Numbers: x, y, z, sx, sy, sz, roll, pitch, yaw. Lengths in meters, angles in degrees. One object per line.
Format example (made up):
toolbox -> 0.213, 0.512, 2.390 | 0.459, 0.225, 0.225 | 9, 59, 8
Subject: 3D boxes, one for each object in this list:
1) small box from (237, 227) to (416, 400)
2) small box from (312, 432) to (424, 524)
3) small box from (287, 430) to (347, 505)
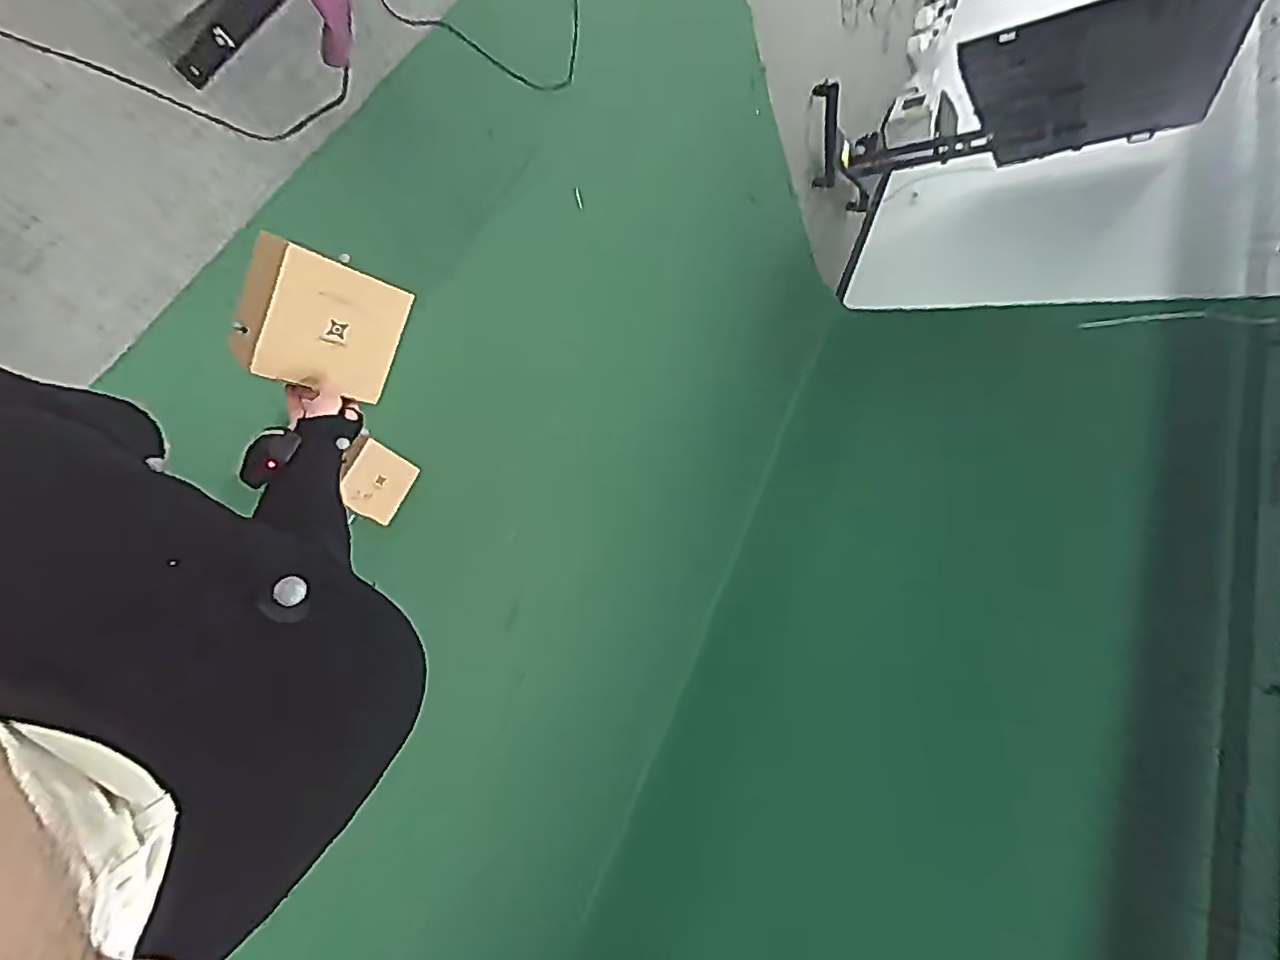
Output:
small box -> -0.459, -0.241, 0.783 | 0.168, 0.176, 0.179 | 13, 104, -48
small box -> -0.715, -0.010, 1.417 | 0.168, 0.176, 0.179 | 45, 63, -47
small box -> -0.843, -0.030, 1.519 | 0.179, 0.176, 0.168 | 46, 62, -48
